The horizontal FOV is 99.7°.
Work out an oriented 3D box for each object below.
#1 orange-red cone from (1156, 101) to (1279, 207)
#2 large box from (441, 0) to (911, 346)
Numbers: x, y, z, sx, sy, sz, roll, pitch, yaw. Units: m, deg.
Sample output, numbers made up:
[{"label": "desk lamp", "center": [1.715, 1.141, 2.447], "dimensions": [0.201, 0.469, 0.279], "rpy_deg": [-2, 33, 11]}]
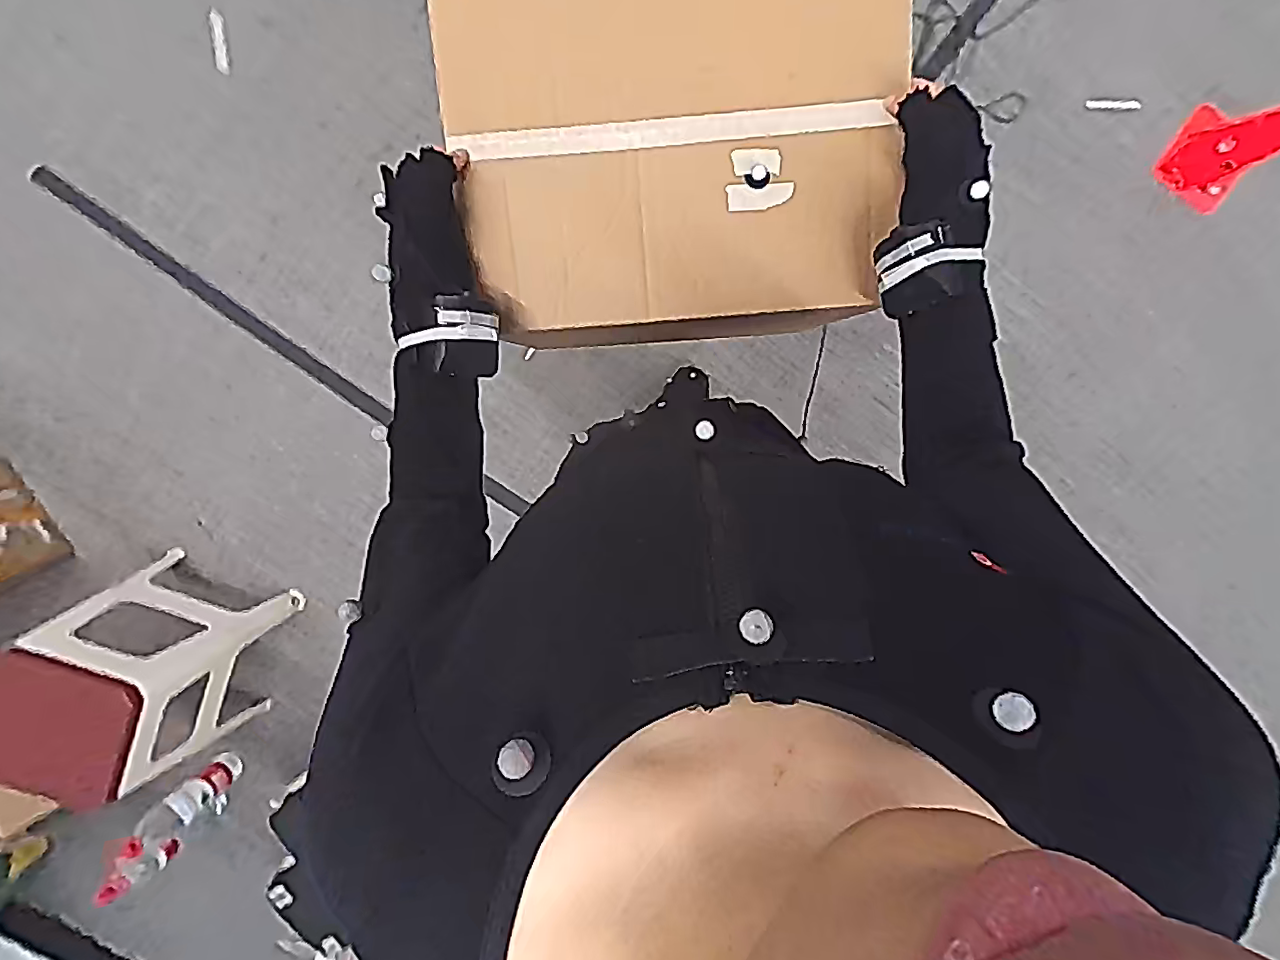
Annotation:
[{"label": "orange-red cone", "center": [1.434, -0.798, 1.197], "dimensions": [0.198, 0.360, 0.199], "rpy_deg": [34, 96, -7]}, {"label": "large box", "center": [0.034, -0.336, 0.621], "dimensions": [0.408, 0.320, 0.320], "rpy_deg": [-4, 101, 0]}]
